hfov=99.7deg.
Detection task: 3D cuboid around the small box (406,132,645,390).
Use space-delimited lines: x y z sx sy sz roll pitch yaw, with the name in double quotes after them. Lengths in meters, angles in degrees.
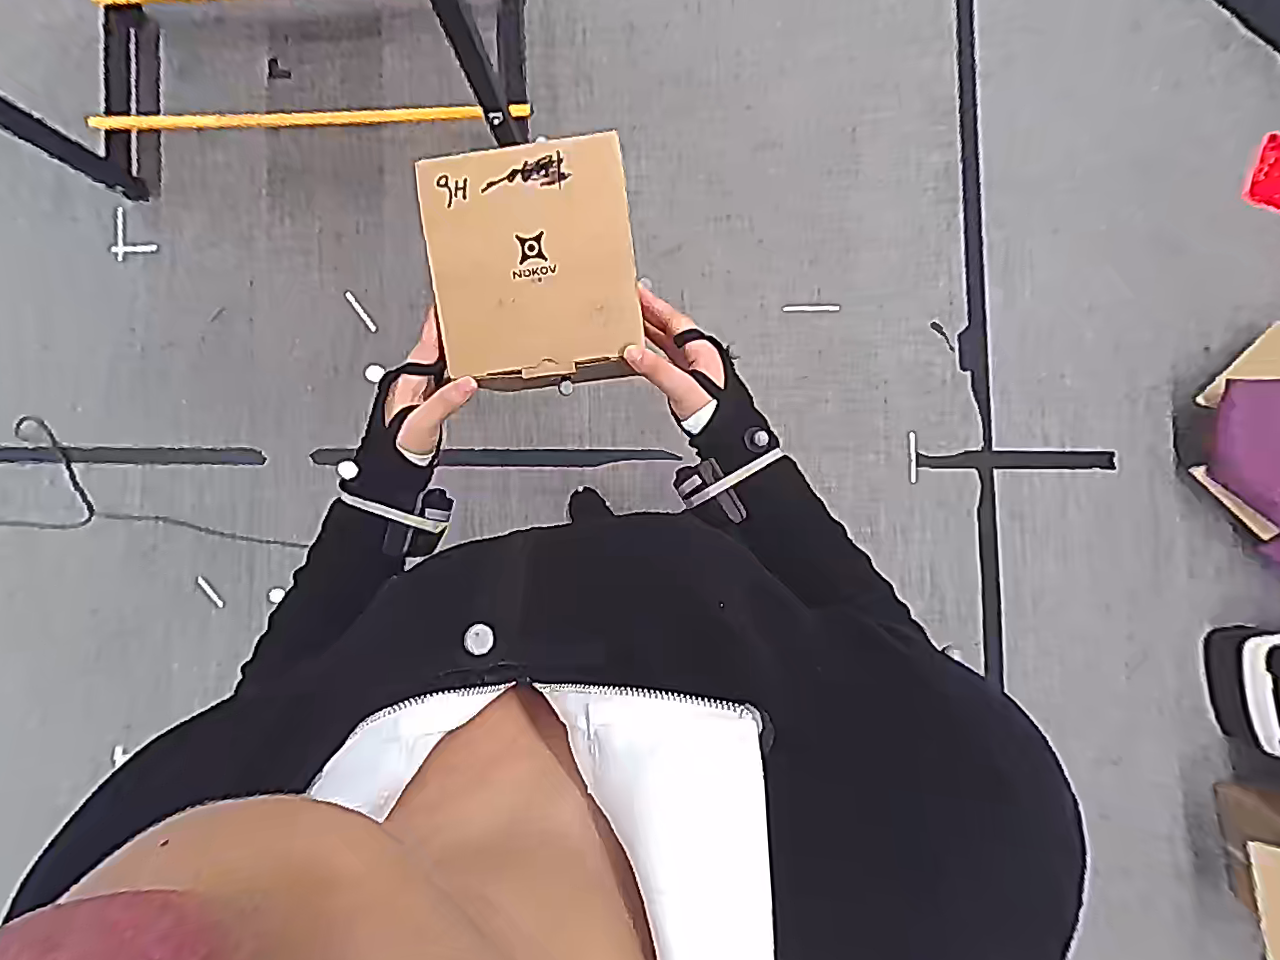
-0.087 -0.181 0.504 0.168 0.176 0.179 -8 98 2 "small box"
